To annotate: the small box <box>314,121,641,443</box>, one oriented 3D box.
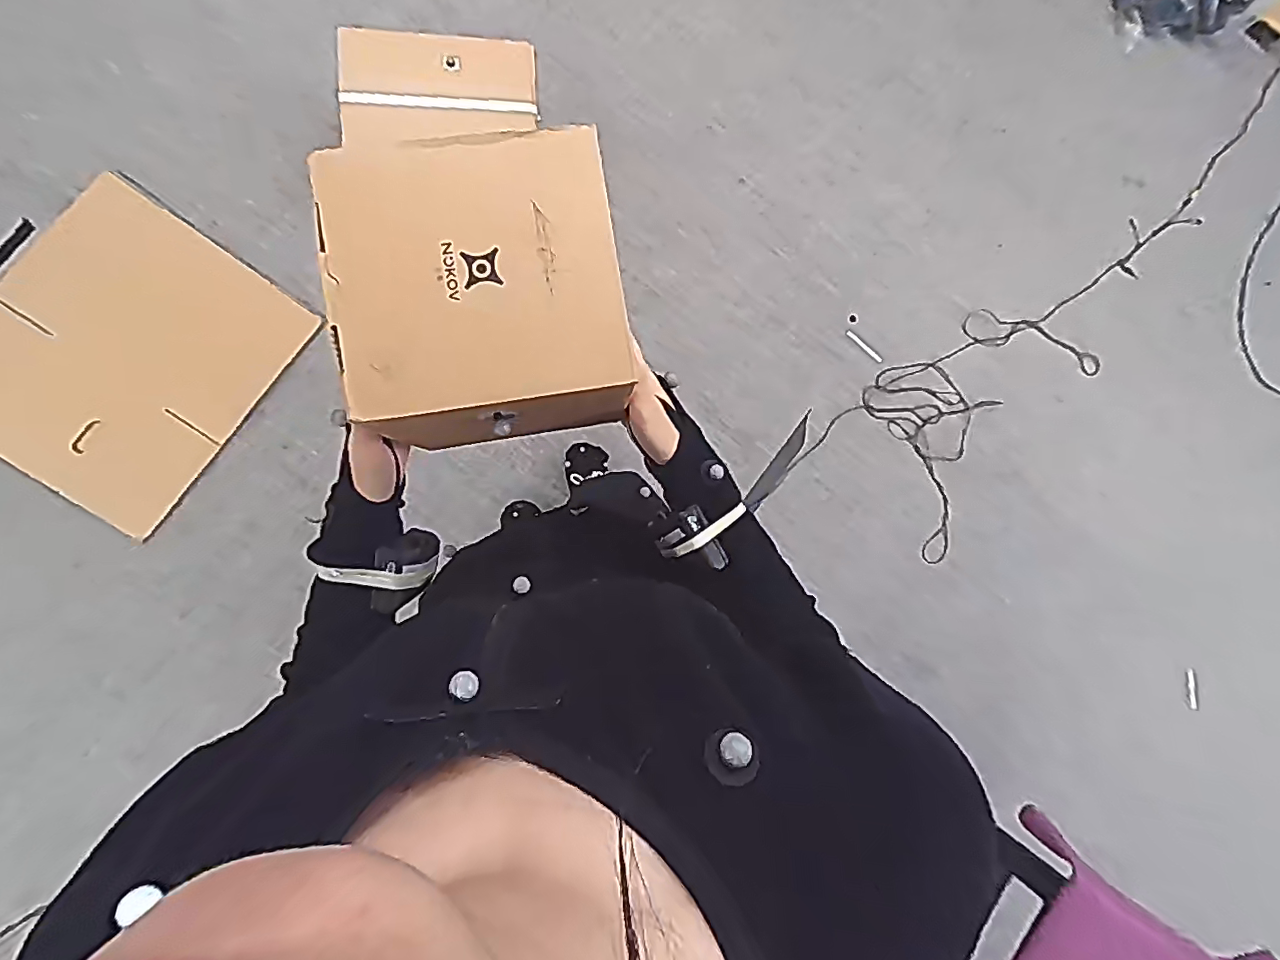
[{"bbox_3d":[-0.103,-0.126,0.405,0.179,0.176,0.168,-10,90,-6],"label":"small box"}]
